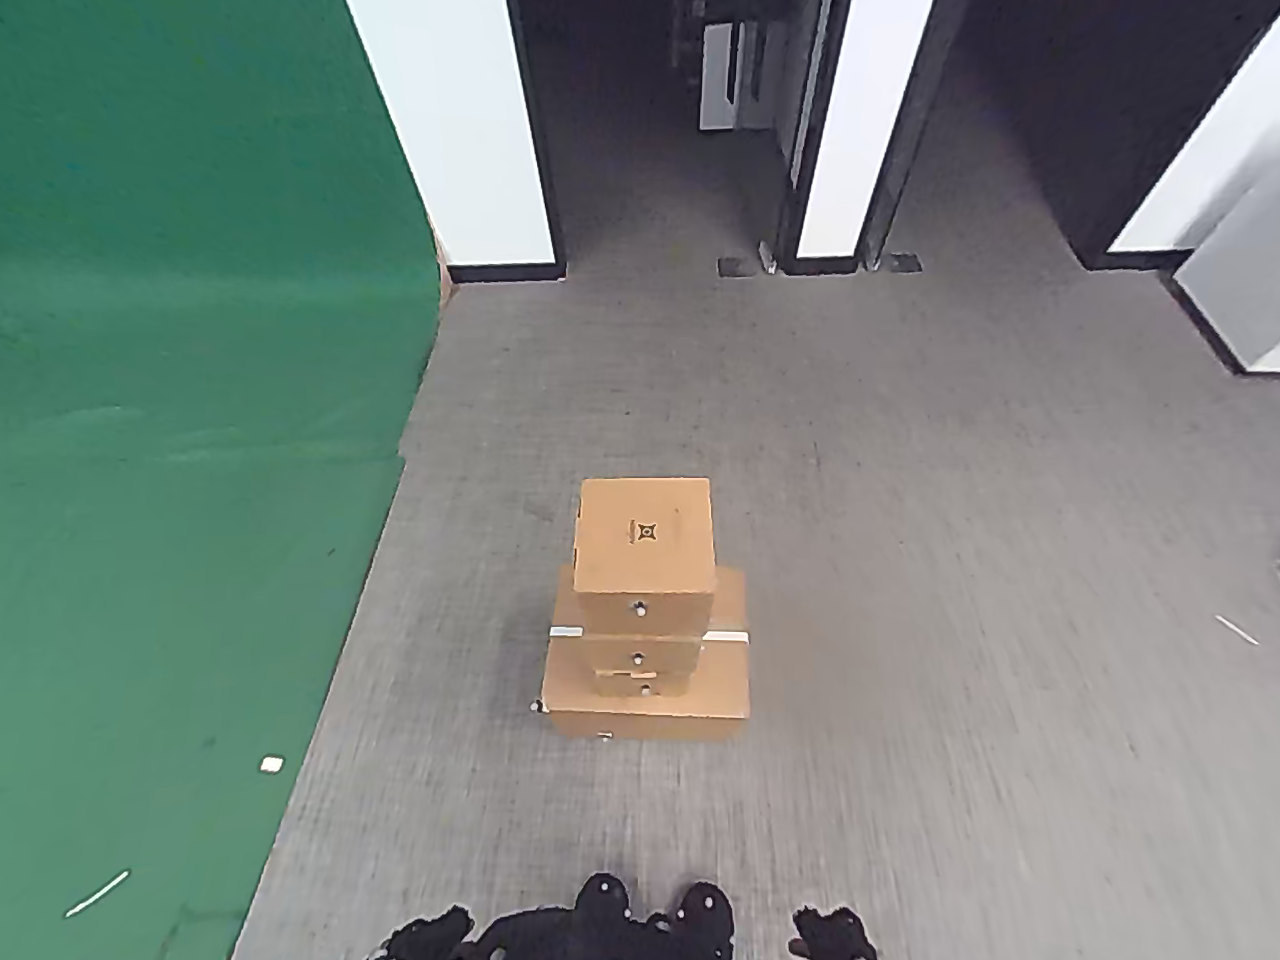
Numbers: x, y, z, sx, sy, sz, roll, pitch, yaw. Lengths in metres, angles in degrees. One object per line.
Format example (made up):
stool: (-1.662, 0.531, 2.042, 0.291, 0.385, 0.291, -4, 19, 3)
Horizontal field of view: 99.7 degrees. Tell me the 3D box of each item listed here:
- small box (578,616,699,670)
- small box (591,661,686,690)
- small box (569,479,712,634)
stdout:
small box: (0.003, 0.207, 0.889, 0.179, 0.176, 0.168, 0, 56, 4)
small box: (0.001, 0.297, 1.027, 0.168, 0.176, 0.179, -2, 57, 1)
small box: (0.004, 0.112, 0.758, 0.179, 0.176, 0.168, 0, 58, 1)
